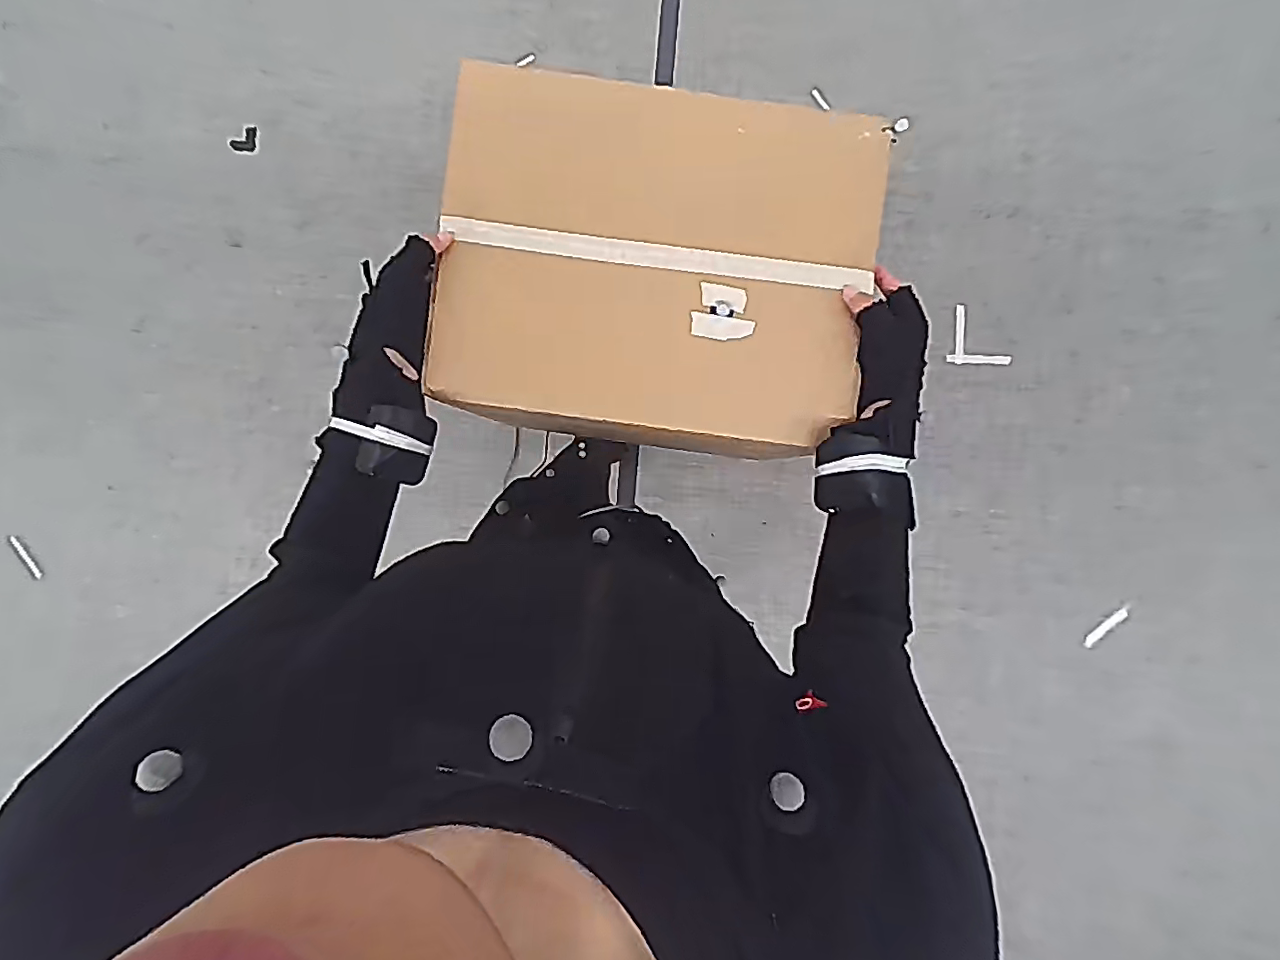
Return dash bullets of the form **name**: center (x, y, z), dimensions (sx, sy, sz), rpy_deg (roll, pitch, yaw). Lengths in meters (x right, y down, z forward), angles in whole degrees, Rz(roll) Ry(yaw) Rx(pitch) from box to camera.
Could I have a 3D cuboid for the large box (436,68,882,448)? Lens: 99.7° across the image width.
- **large box**: center (0.014, -0.219, 0.665), dimensions (0.408, 0.320, 0.320), rpy_deg (8, 92, -1)
